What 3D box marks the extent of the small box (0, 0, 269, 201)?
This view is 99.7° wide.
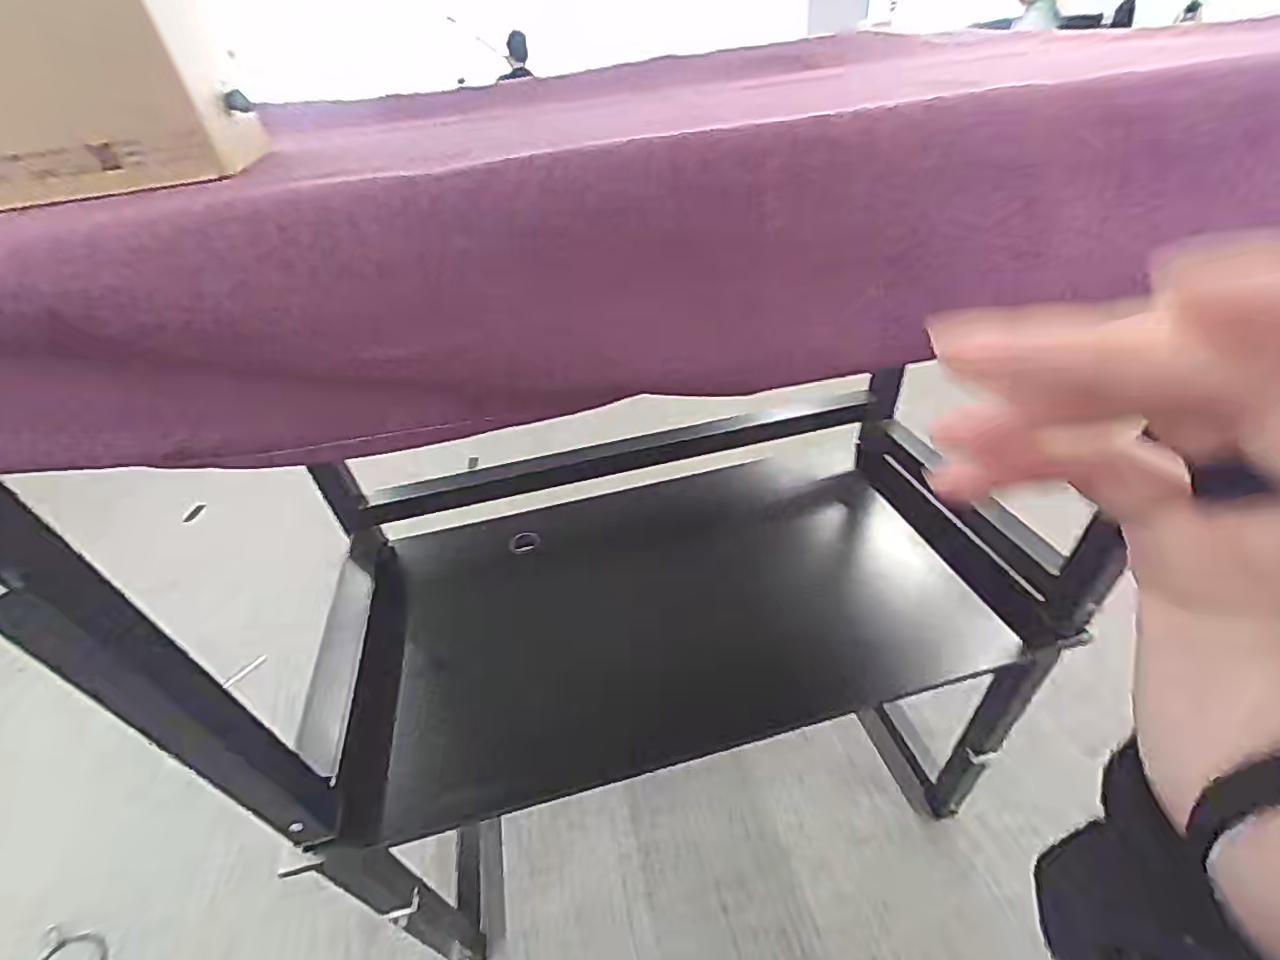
[{"bbox_3d":[-0.384,-0.295,0.360,0.168,0.176,0.179,-17,39,-13],"label":"small box"}]
